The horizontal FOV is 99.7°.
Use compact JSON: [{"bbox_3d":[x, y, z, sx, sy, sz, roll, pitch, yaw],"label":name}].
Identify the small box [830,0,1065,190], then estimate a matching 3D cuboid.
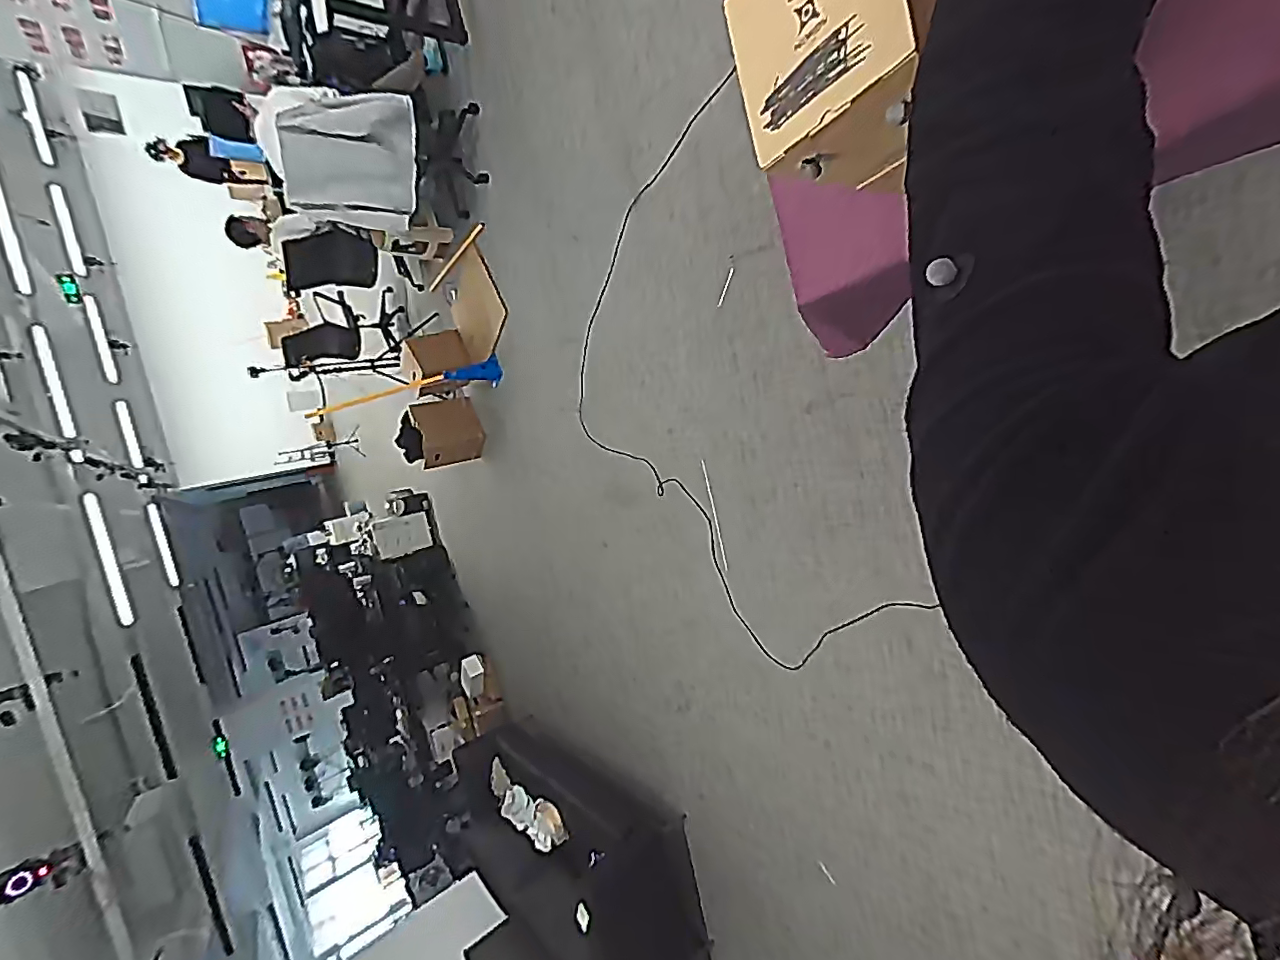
[{"bbox_3d":[0.352,-0.462,0.621,0.168,0.176,0.179,-8,97,55],"label":"small box"}]
